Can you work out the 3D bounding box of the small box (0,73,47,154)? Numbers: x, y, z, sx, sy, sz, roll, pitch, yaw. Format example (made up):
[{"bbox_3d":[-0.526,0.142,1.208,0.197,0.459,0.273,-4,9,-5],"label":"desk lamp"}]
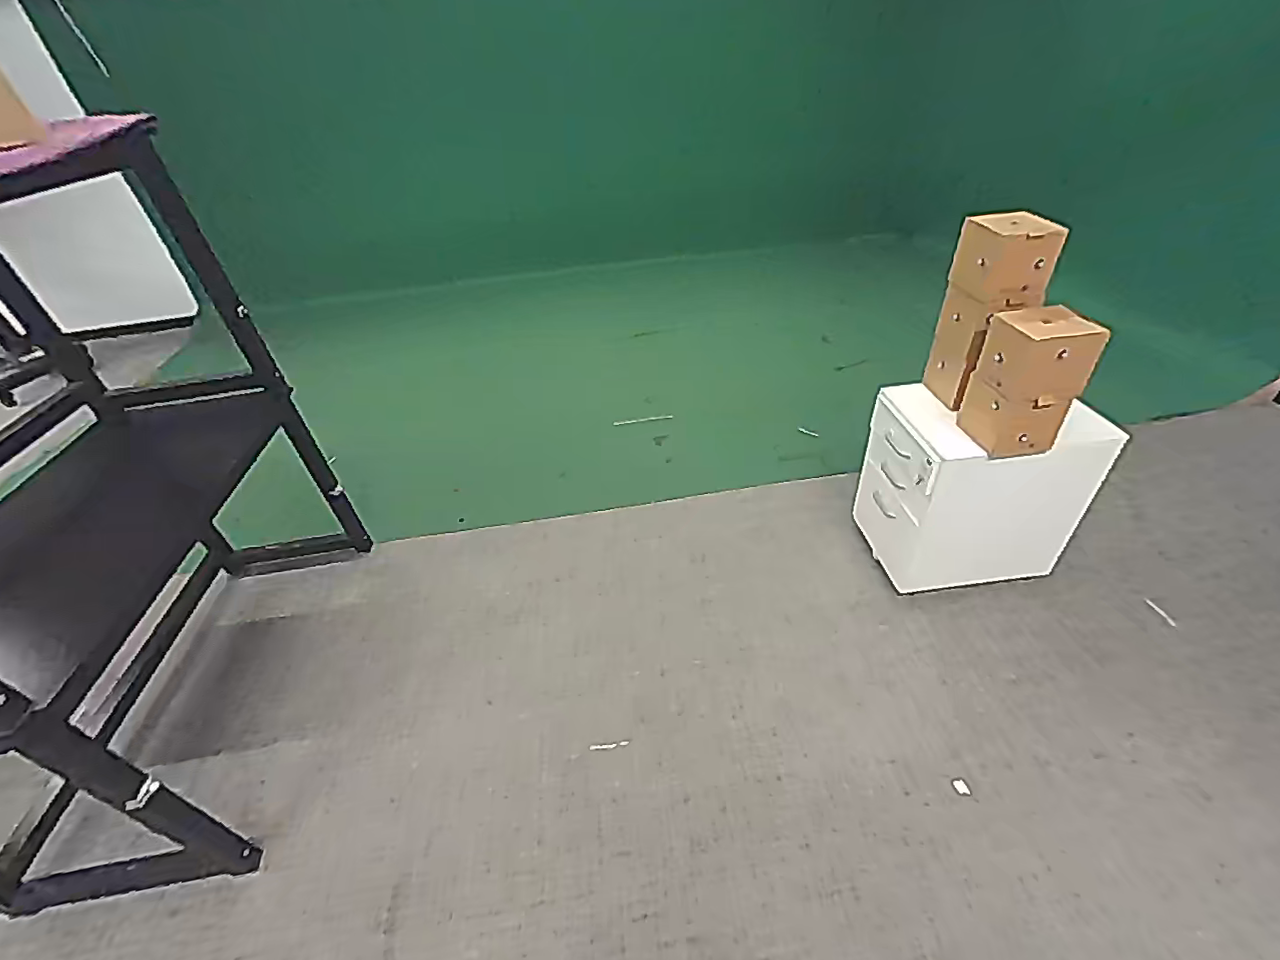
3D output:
[{"bbox_3d":[-1.337,-0.721,1.043,0.168,0.176,0.179,-9,39,0],"label":"small box"}]

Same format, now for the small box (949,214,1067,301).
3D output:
[{"bbox_3d":[0.951,-0.578,1.416,0.168,0.176,0.179,-6,39,-2],"label":"small box"}]

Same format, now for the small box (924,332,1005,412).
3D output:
[{"bbox_3d":[0.988,-0.325,1.621,0.168,0.176,0.179,-8,40,-2],"label":"small box"}]

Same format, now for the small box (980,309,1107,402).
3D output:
[{"bbox_3d":[0.979,-0.306,1.337,0.179,0.176,0.168,-6,39,-1],"label":"small box"}]
